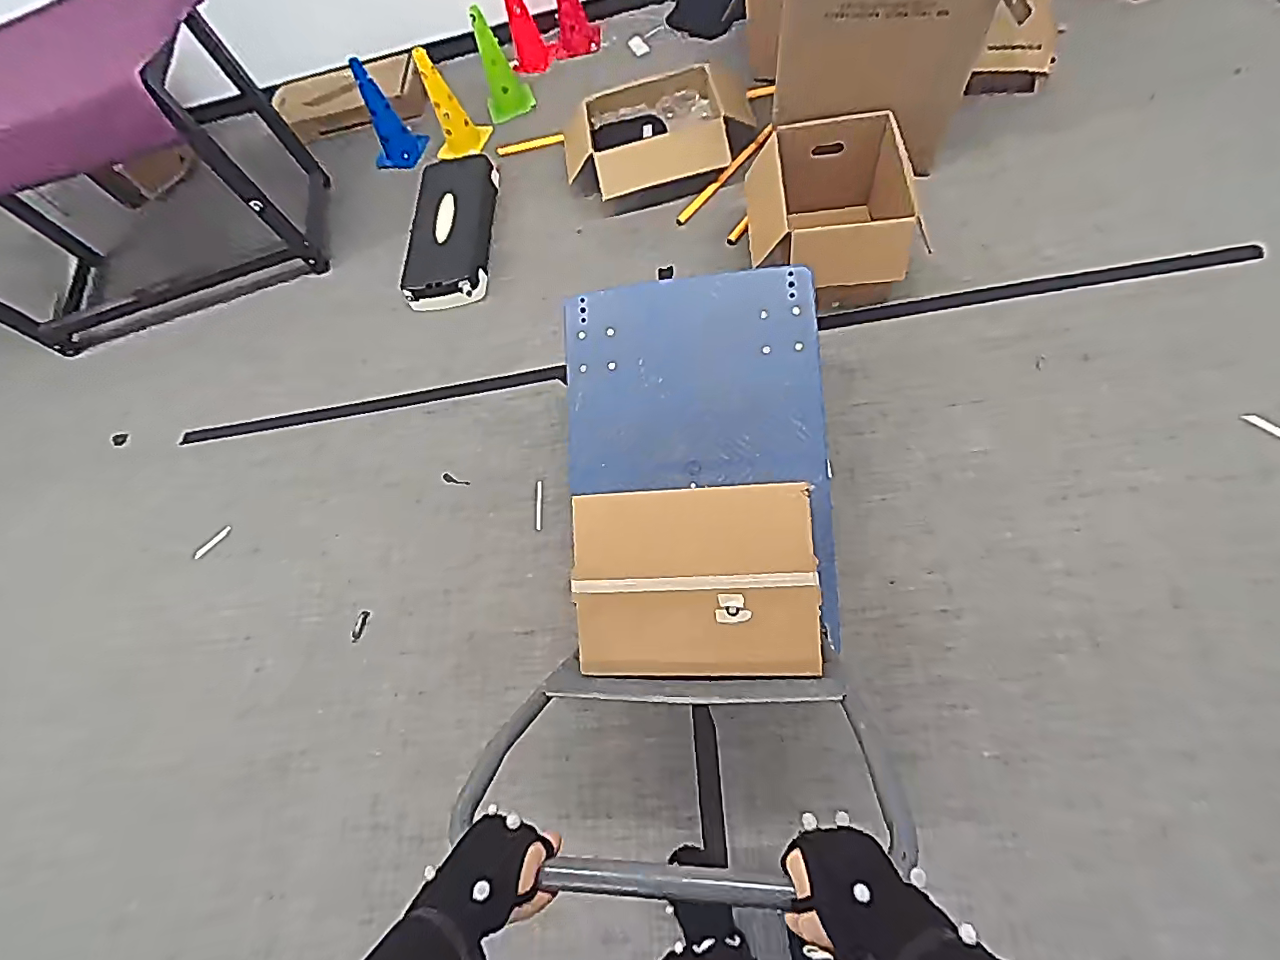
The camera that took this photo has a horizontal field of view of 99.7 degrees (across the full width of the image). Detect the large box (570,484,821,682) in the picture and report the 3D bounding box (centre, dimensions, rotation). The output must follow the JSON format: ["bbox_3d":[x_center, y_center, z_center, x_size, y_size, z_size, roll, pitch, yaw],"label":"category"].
[{"bbox_3d":[0.107,0.184,1.044,0.408,0.320,0.320,-4,87,10],"label":"large box"}]
